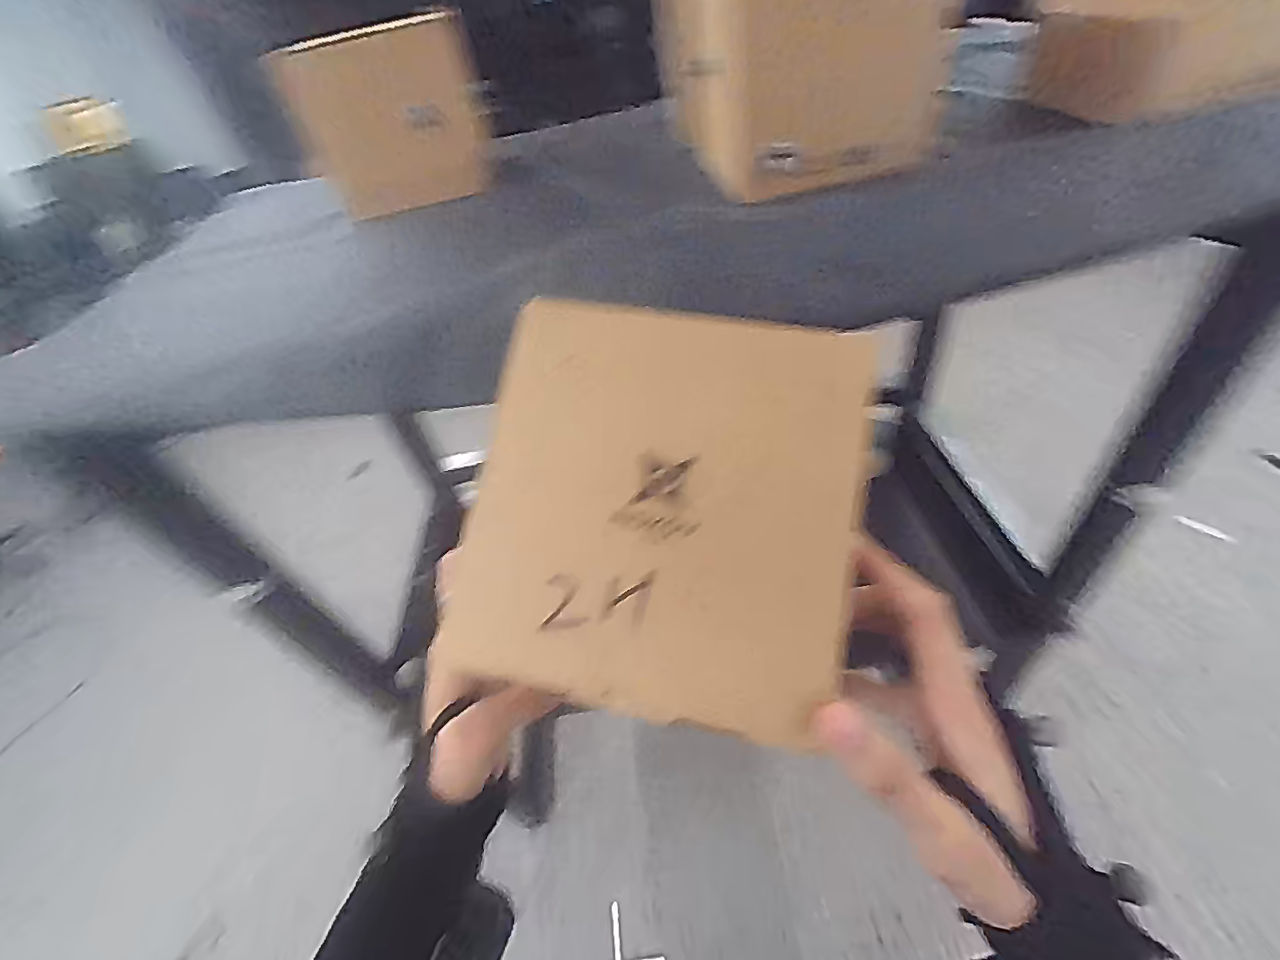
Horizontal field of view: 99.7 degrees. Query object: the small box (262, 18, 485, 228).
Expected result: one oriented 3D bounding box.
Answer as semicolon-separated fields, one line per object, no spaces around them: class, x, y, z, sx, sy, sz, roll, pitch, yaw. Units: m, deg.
small box;-0.303;-0.436;0.665;0.179;0.176;0.168;-13;44;0
